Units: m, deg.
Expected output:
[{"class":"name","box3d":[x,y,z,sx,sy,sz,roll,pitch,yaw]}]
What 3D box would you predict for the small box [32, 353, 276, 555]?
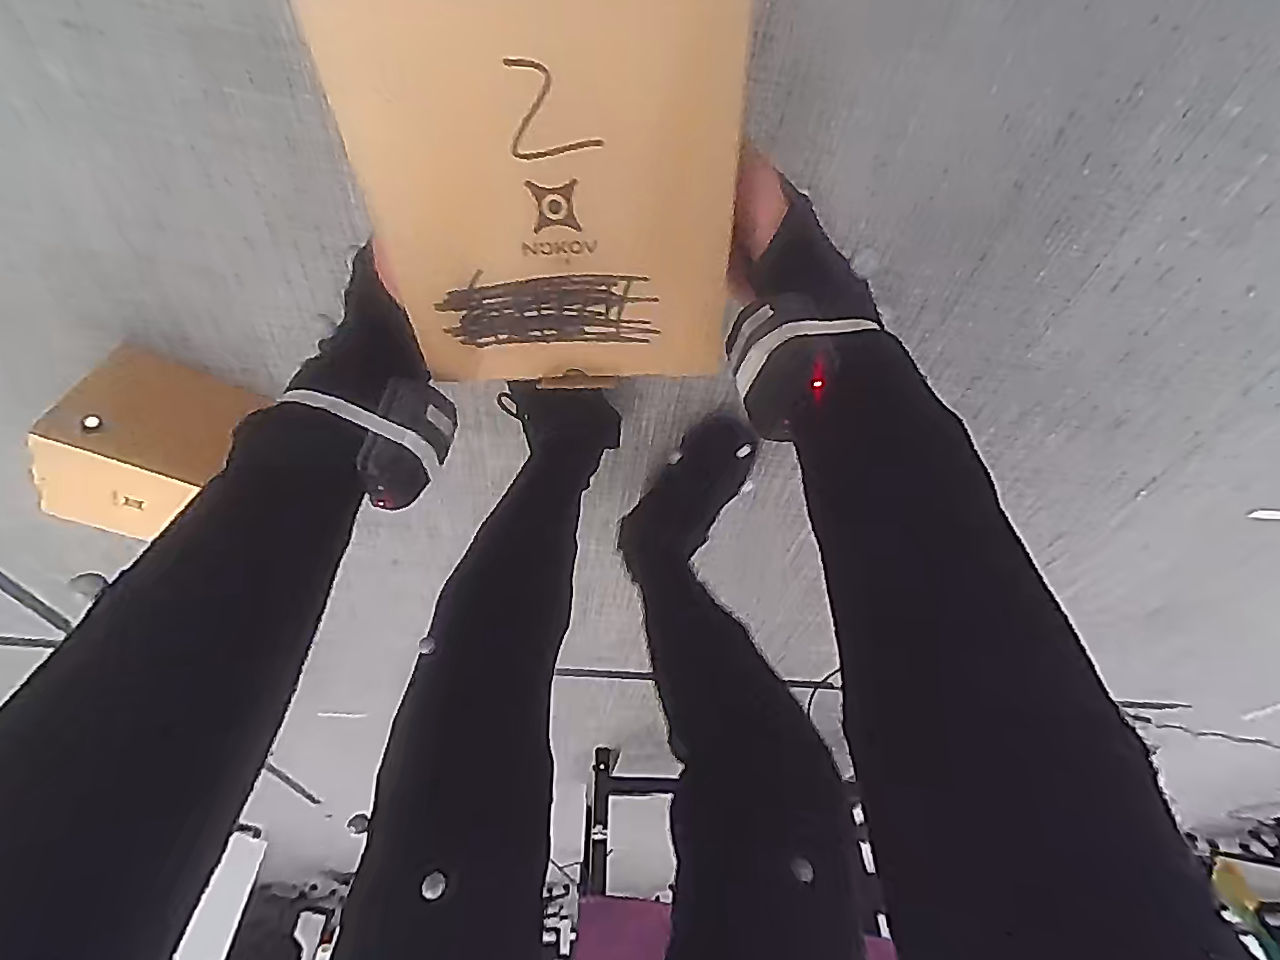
[{"class":"small box","box3d":[-0.610,-0.033,0.703,0.179,0.176,0.168,25,132,-25]}]
